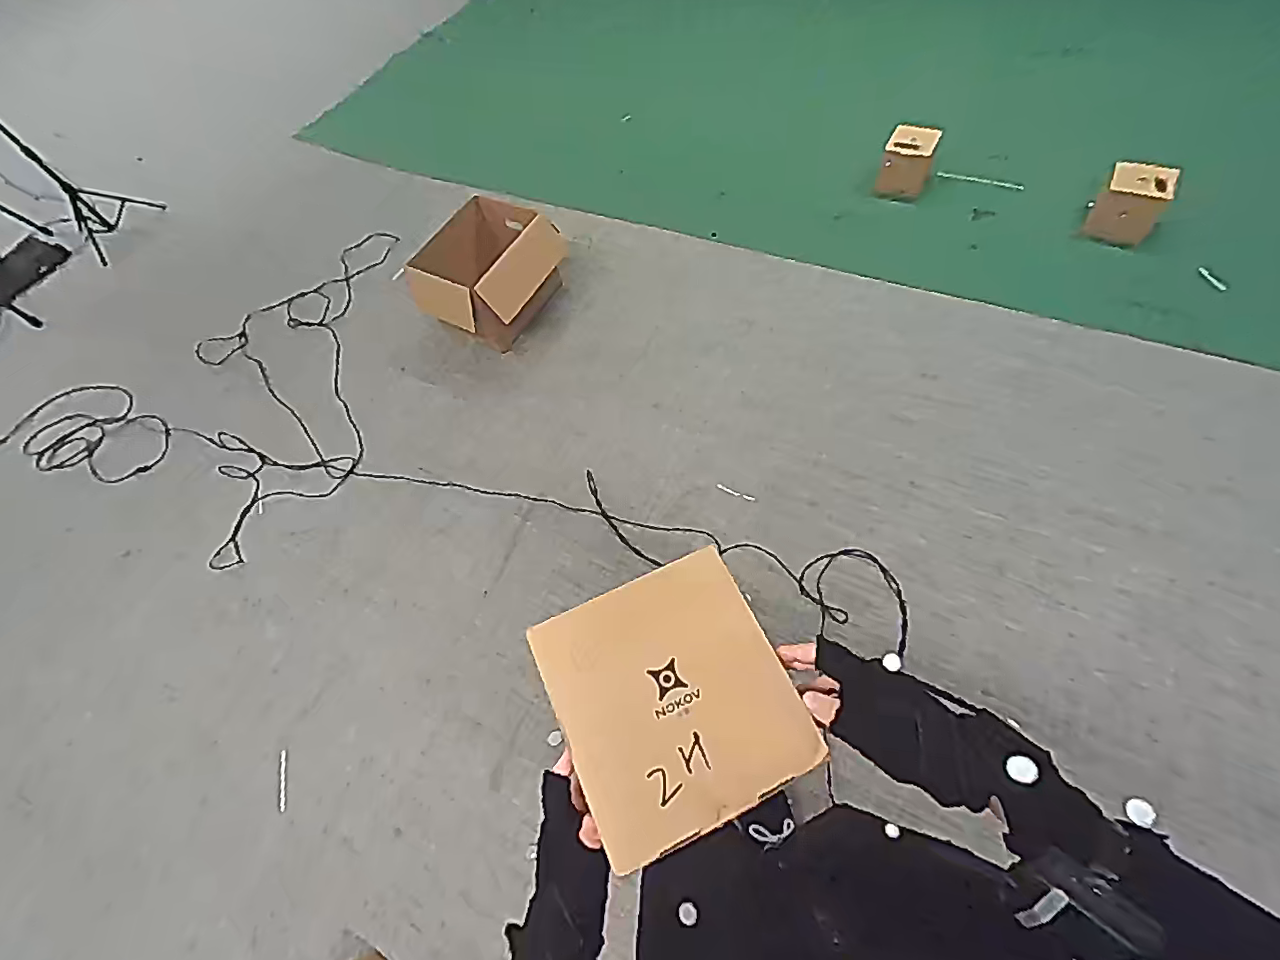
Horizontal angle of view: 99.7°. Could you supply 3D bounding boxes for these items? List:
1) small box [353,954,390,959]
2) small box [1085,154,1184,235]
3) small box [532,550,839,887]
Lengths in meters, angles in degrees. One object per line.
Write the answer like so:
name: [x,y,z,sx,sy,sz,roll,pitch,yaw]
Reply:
small box: [-0.541,1.061,1.038,0.179,0.176,0.168,21,66,17]
small box: [1.655,-0.954,1.817,0.179,0.176,0.168,24,67,20]
small box: [0.026,0.190,0.452,0.168,0.176,0.179,-23,65,-10]
